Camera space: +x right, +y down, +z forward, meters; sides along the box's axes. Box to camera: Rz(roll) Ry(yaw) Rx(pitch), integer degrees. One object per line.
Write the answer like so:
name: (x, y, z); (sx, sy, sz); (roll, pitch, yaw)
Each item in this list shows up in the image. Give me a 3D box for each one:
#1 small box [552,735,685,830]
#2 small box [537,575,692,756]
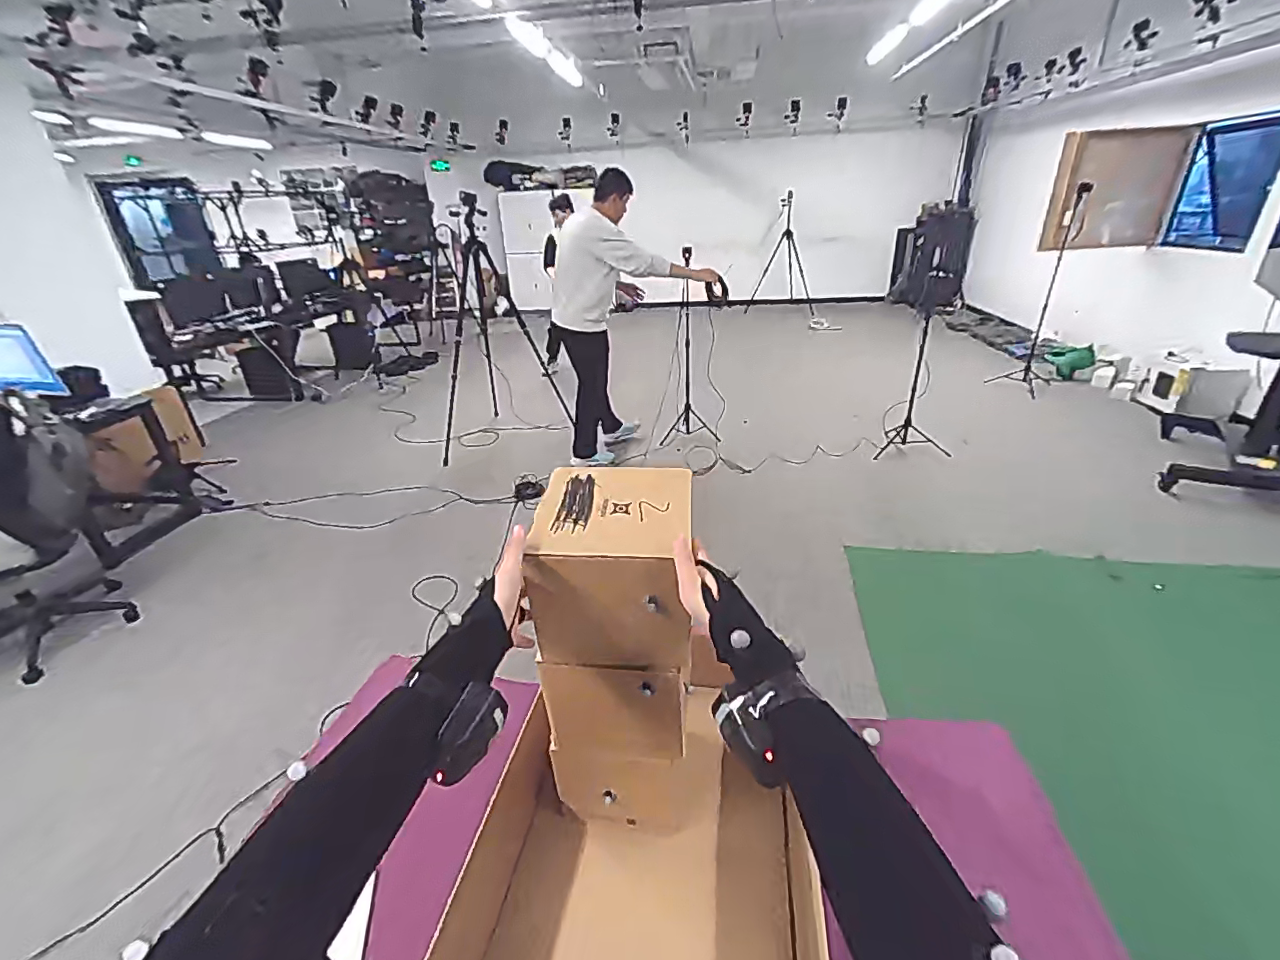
small box: (-0.019, 0.389, 0.814); (0.168, 0.176, 0.179); (2, 29, 10)
small box: (-0.022, 0.248, 0.735); (0.179, 0.176, 0.168); (1, 29, 8)
